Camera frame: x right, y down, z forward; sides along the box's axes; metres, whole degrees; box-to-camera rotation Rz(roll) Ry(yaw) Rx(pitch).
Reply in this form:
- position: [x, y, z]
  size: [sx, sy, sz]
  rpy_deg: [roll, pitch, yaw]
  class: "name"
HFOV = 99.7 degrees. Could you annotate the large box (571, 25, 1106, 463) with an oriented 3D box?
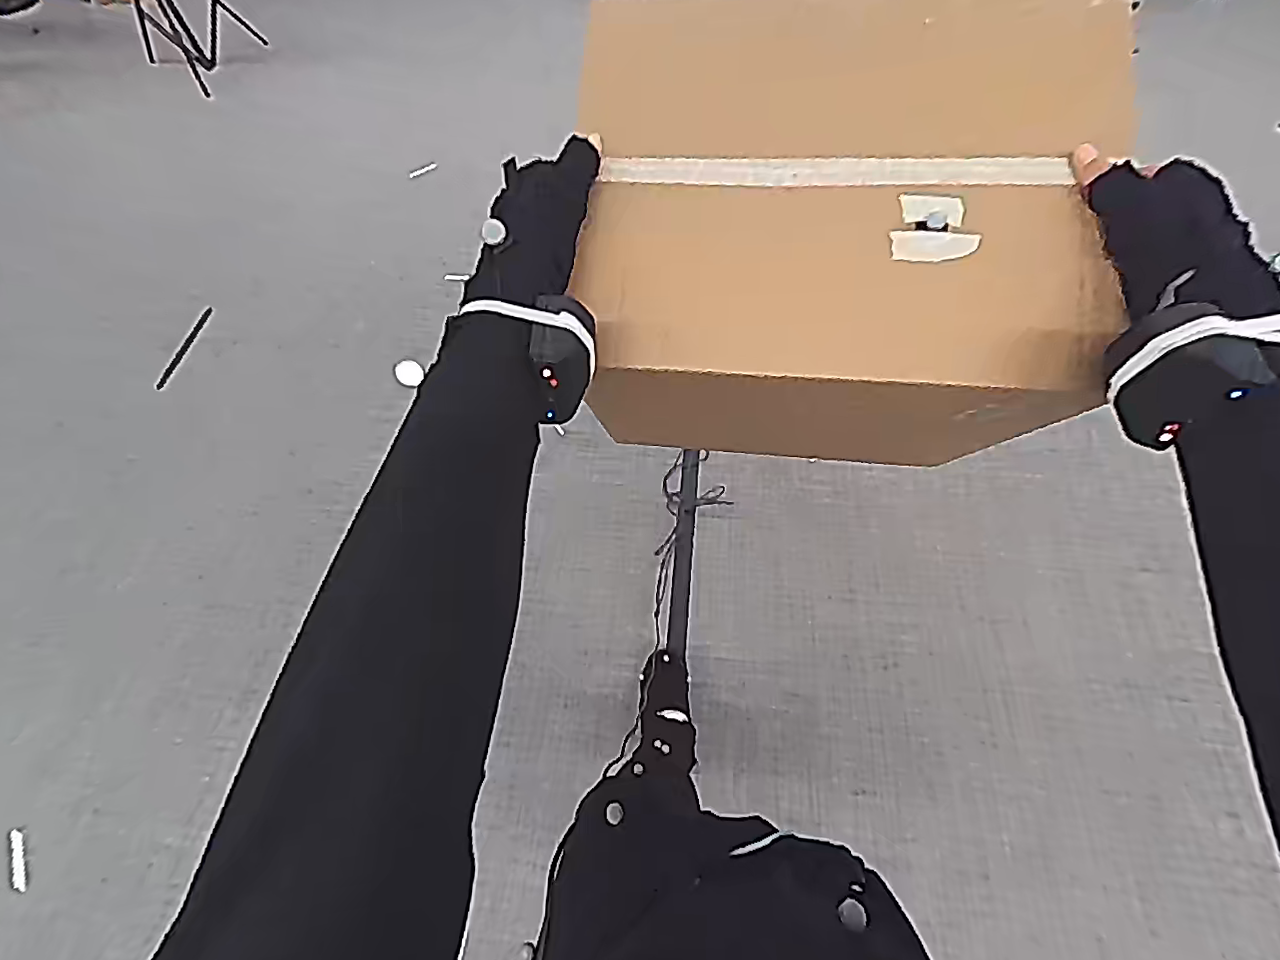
- position: [0.162, -0.200, 0.574]
  size: [0.408, 0.320, 0.320]
  rpy_deg: [4, 84, 6]
  class: "large box"
